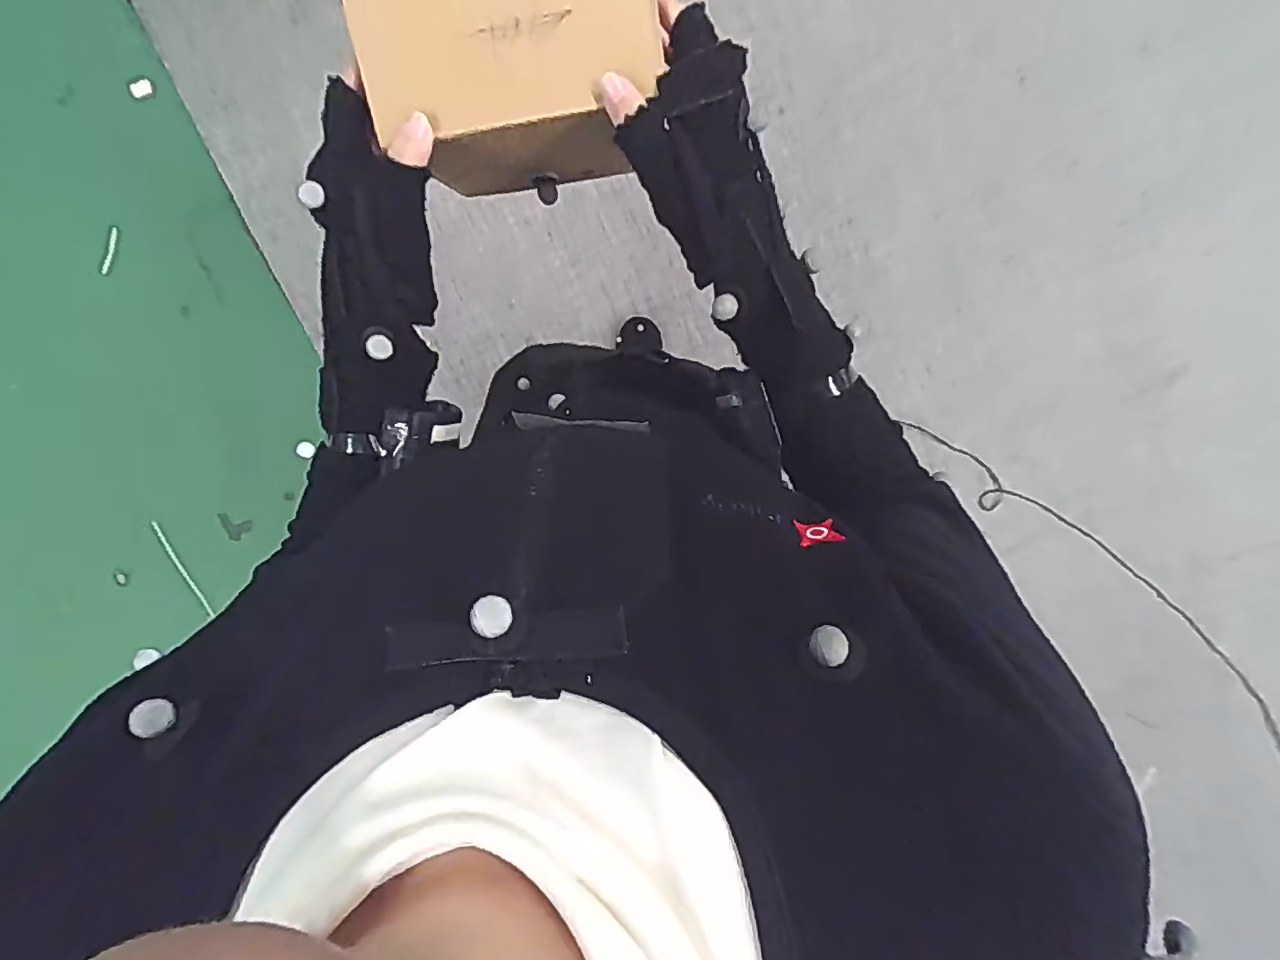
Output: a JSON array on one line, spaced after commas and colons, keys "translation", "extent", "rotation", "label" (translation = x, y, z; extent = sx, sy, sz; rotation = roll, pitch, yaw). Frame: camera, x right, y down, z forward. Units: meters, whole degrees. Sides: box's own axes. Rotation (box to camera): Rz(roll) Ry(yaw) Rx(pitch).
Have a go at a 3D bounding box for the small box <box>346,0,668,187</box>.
[{"translation": [-0.076, -0.312, 0.347], "extent": [0.168, 0.176, 0.179], "rotation": [-7, 108, 4], "label": "small box"}]
